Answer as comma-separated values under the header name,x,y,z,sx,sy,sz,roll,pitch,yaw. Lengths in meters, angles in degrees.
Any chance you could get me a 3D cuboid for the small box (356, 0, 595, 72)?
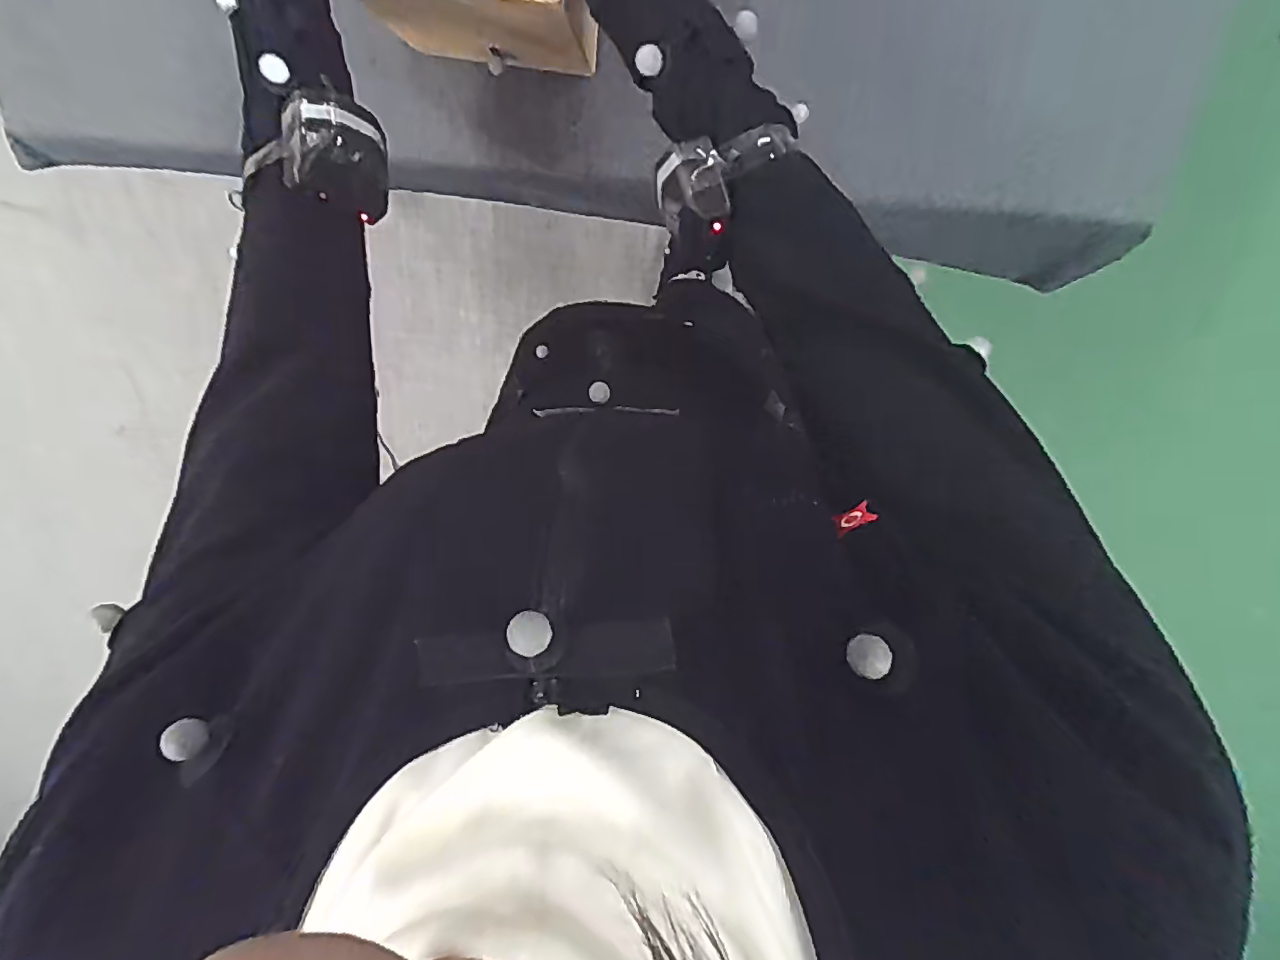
name,x,y,z,sx,sy,sz,roll,pitch,yaw
small box,-0.125,-0.454,0.431,0.179,0.176,0.168,7,112,0
